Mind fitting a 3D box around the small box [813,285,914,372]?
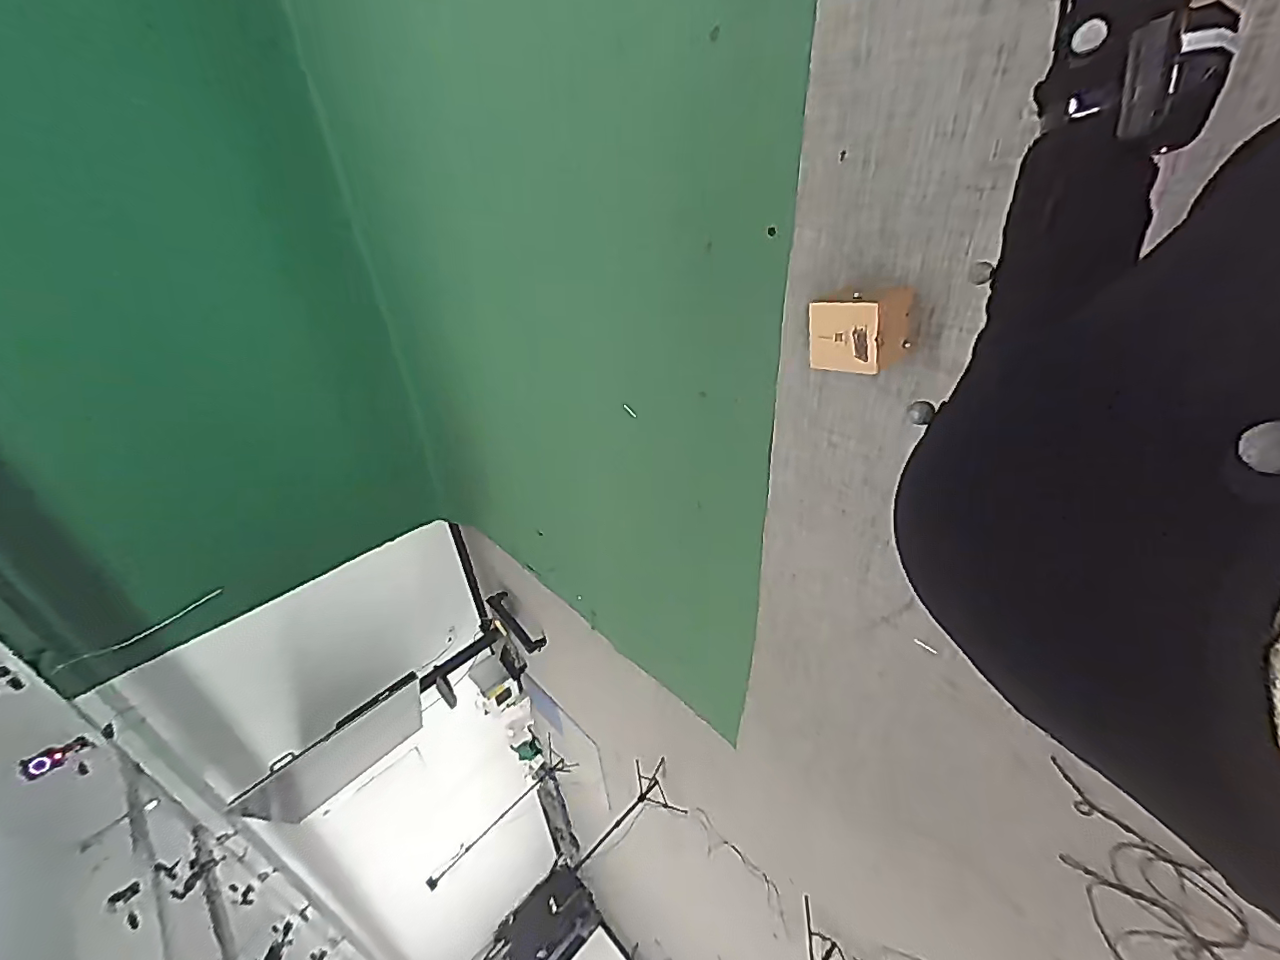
[{"bbox_3d":[0.545,-0.374,1.318,0.179,0.176,0.168,20,129,45],"label":"small box"}]
